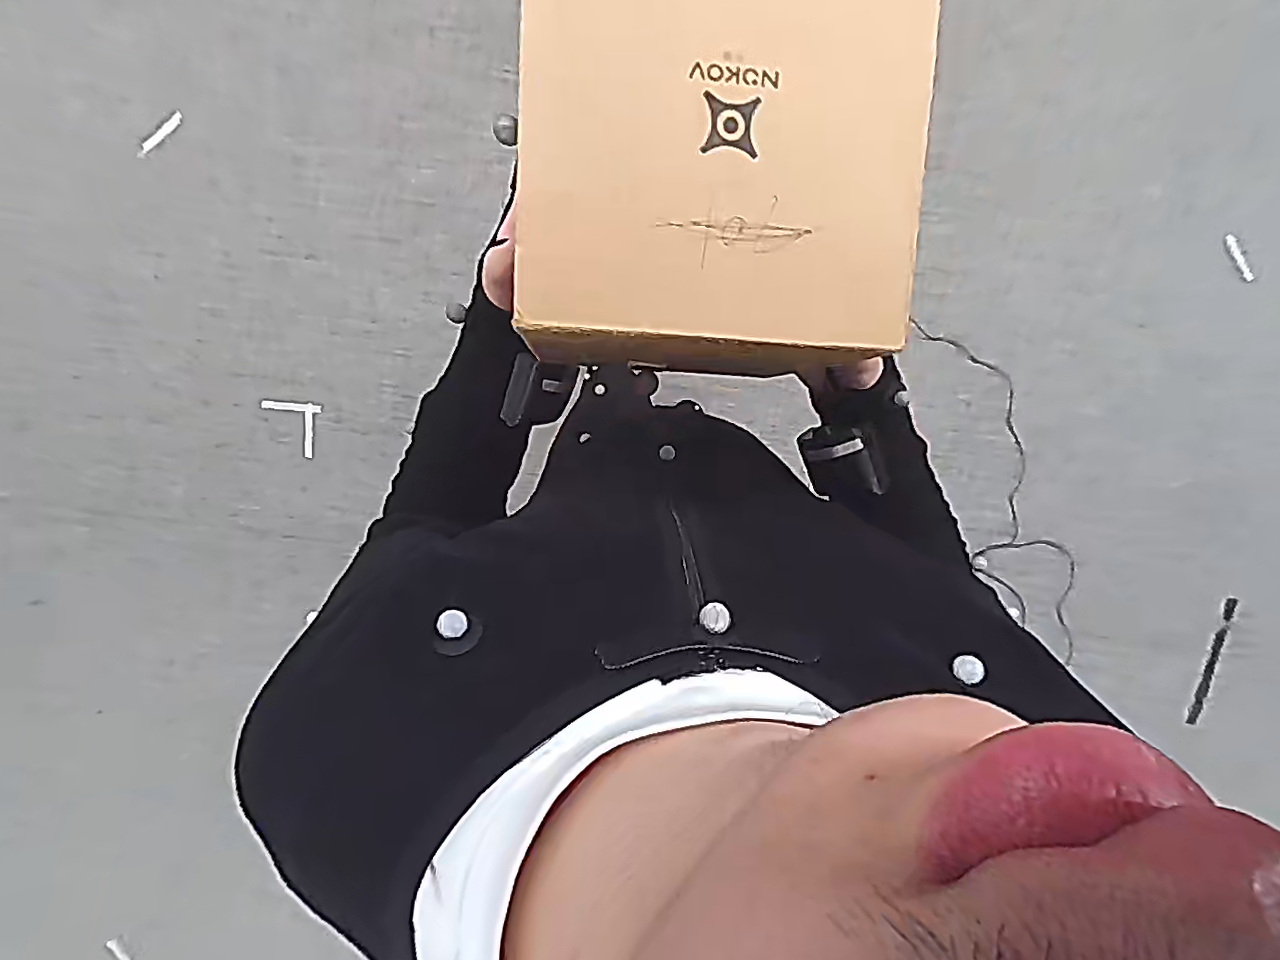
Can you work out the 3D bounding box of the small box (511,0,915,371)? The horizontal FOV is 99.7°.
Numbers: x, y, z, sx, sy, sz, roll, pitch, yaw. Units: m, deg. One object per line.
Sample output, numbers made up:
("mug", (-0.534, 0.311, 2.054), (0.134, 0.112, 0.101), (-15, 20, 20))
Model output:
("small box", (0.022, -0.161, 0.304), (0.168, 0.176, 0.179), (2, 97, -6))
